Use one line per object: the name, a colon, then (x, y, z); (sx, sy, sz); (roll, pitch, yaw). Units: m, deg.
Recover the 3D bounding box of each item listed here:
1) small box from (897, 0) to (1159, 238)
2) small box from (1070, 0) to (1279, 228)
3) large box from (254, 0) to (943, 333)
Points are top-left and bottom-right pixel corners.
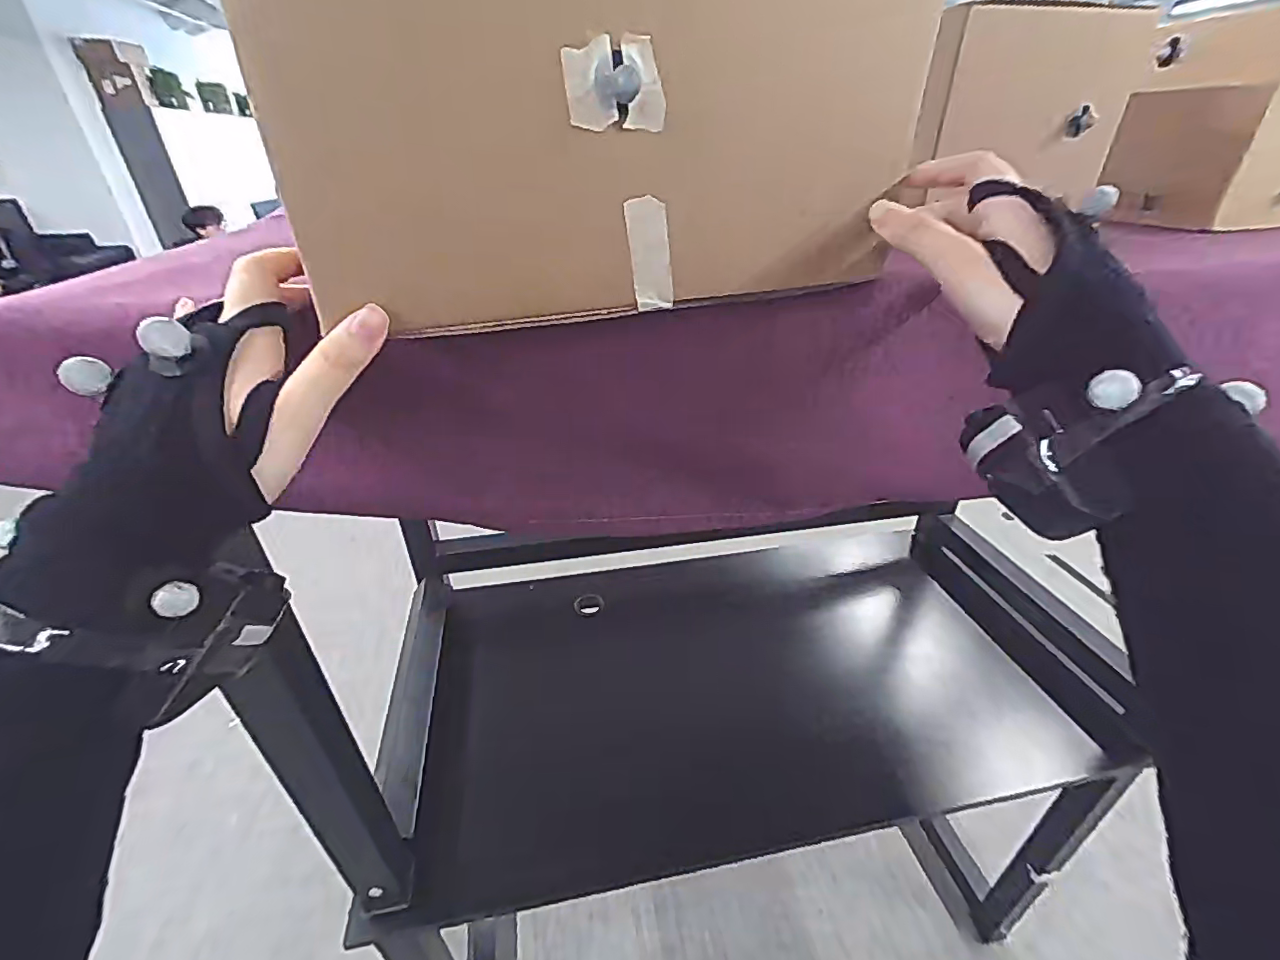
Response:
small box: (0.315, -0.338, 0.523); (0.179, 0.176, 0.168); (-7, 31, -9)
small box: (0.583, -0.352, 0.534); (0.179, 0.176, 0.168); (-7, 31, -11)
large box: (-0.066, -0.310, 0.357); (0.320, 0.320, 0.408); (-12, 32, -19)
